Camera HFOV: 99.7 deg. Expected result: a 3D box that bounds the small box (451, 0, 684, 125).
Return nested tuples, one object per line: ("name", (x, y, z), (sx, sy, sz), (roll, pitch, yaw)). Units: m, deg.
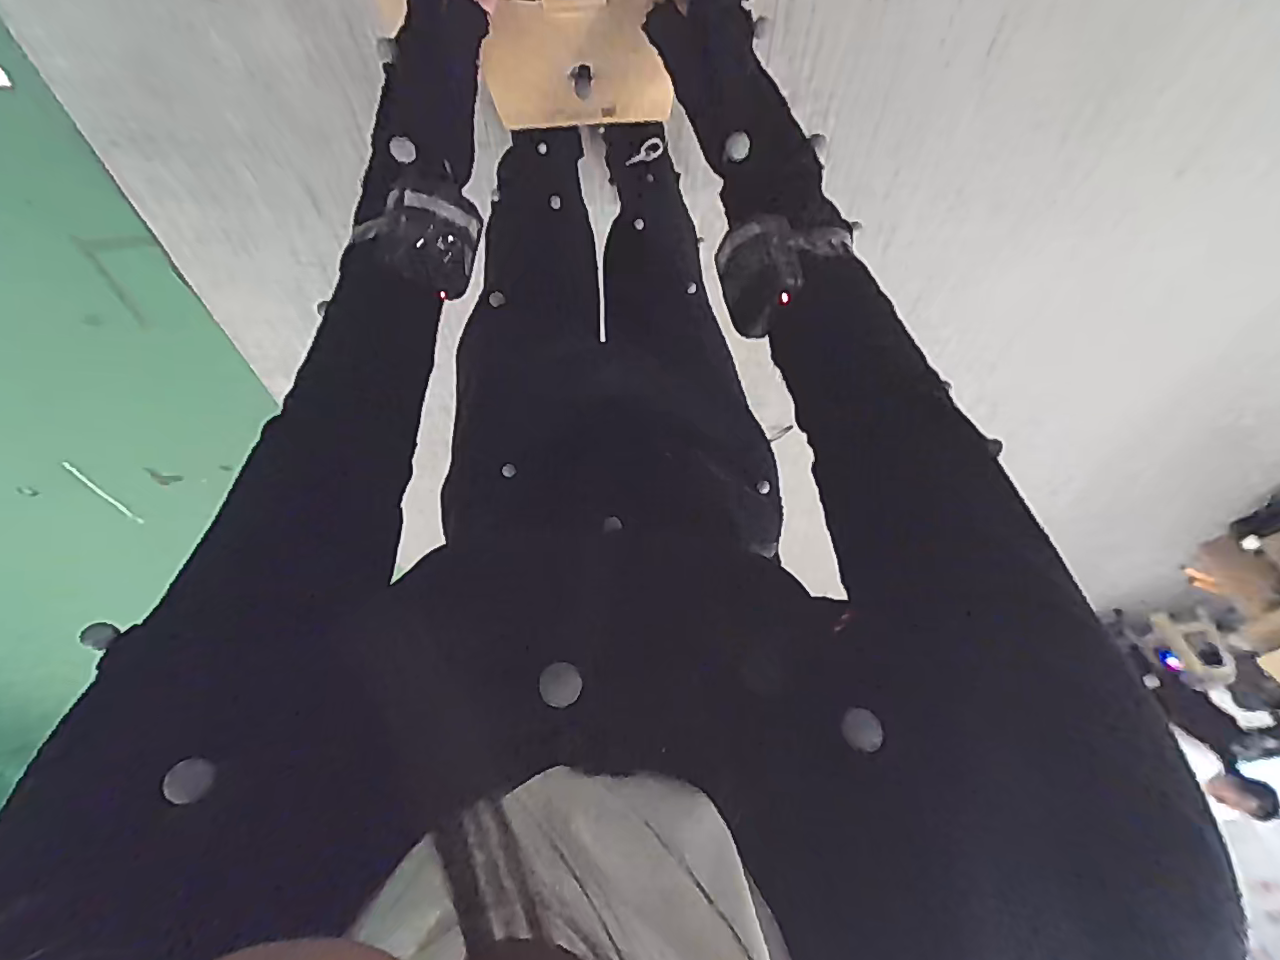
("small box", (-0.053, -0.417, 0.438), (0.168, 0.179, 0.176), (-4, -174, -1))
